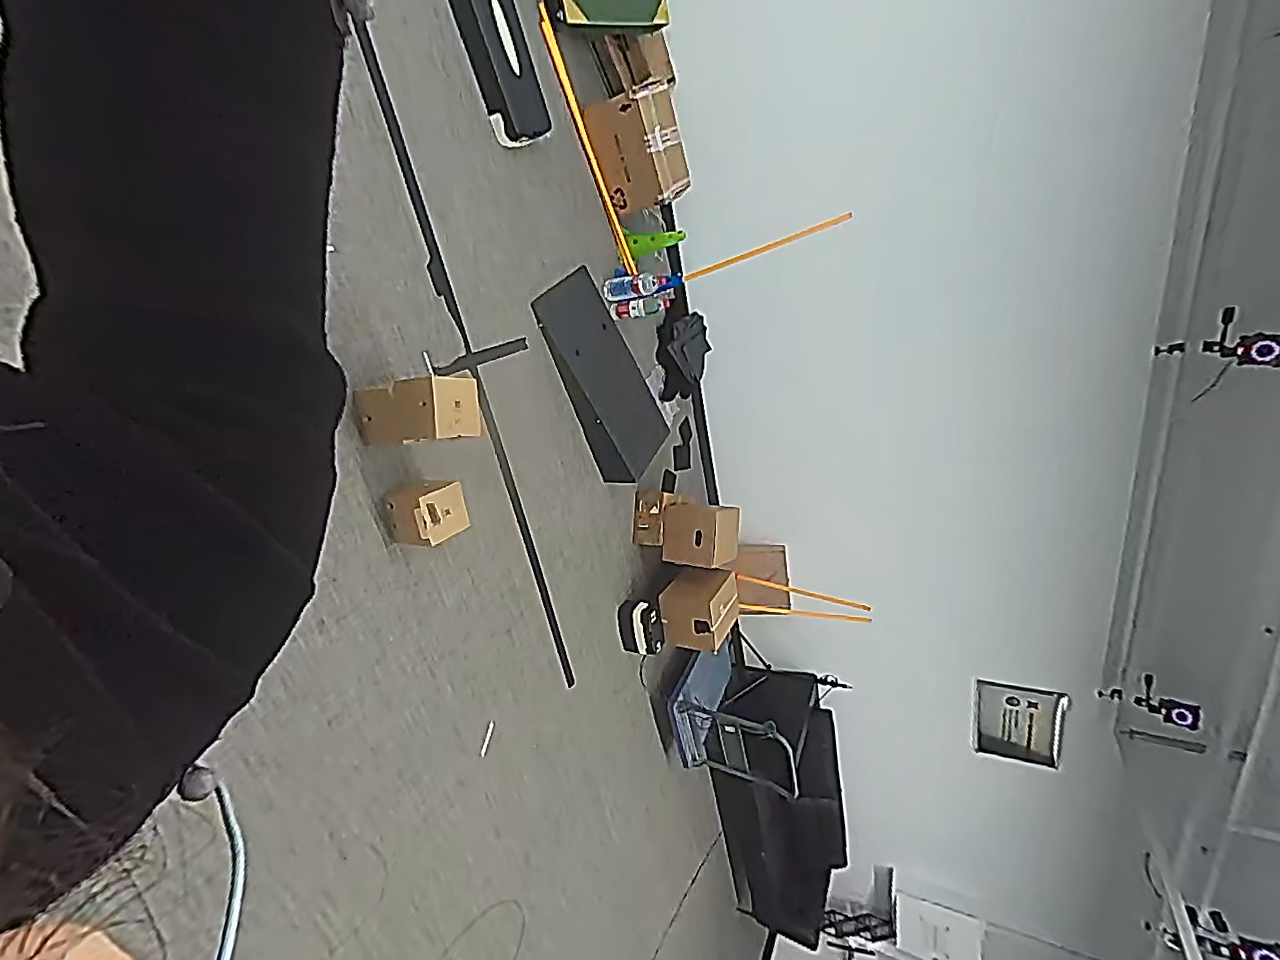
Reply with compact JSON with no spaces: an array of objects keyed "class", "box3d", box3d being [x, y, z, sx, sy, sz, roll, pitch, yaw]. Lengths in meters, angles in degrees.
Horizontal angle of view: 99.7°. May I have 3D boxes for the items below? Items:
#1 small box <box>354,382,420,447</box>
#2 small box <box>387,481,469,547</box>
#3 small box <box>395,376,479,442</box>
[{"class":"small box","box3d":[-0.744,-0.206,1.668,0.168,0.176,0.179,-35,122,-56]},{"class":"small box","box3d":[-0.696,0.107,1.767,0.179,0.176,0.168,-34,121,-57]},{"class":"small box","box3d":[-0.598,-0.206,1.590,0.168,0.176,0.179,-13,102,-60]}]
